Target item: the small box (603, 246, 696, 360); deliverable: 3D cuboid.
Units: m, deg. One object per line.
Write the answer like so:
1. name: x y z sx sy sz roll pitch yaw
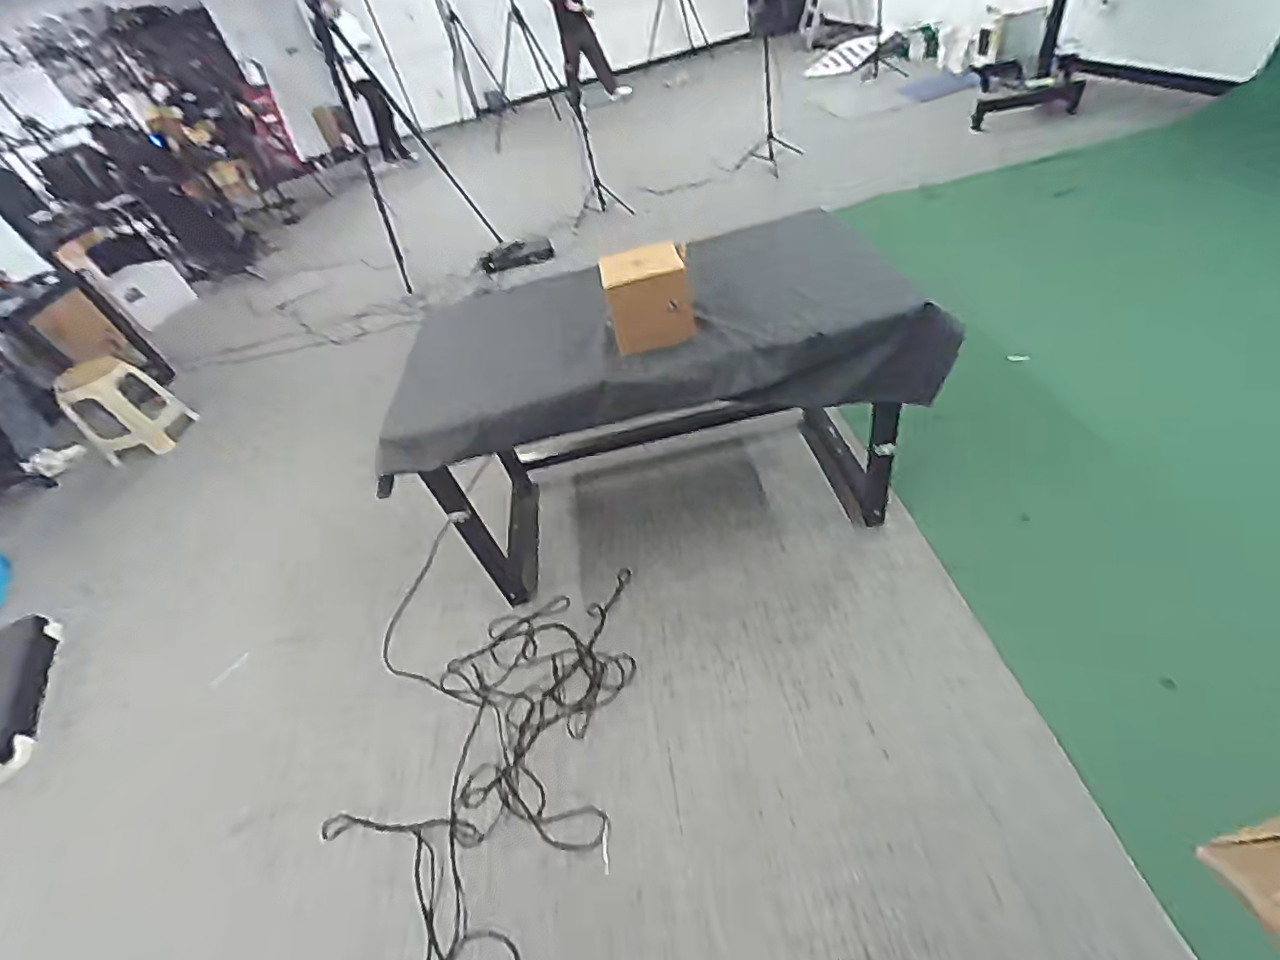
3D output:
1. small box: 0.025 -0.398 1.223 0.179 0.176 0.168 -15 41 4
